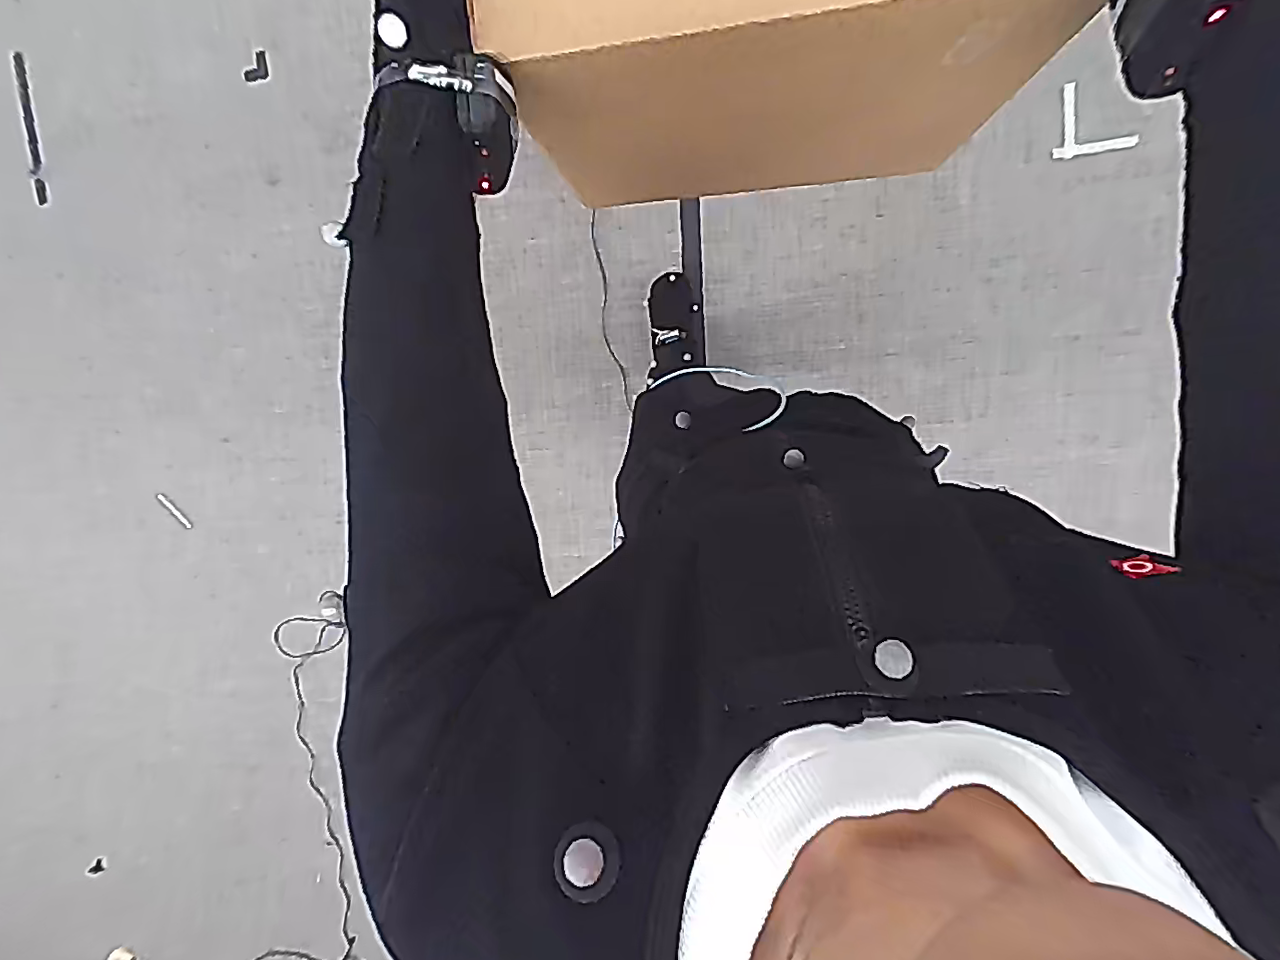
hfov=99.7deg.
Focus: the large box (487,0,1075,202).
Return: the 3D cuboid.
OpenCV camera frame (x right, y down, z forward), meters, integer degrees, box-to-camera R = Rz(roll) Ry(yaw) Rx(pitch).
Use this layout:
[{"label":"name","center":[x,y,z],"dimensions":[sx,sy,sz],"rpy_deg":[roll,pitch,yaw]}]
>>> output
[{"label":"large box","center":[0.099,-0.472,0.462],"dimensions":[0.408,0.320,0.320],"rpy_deg":[-3,100,8]}]
